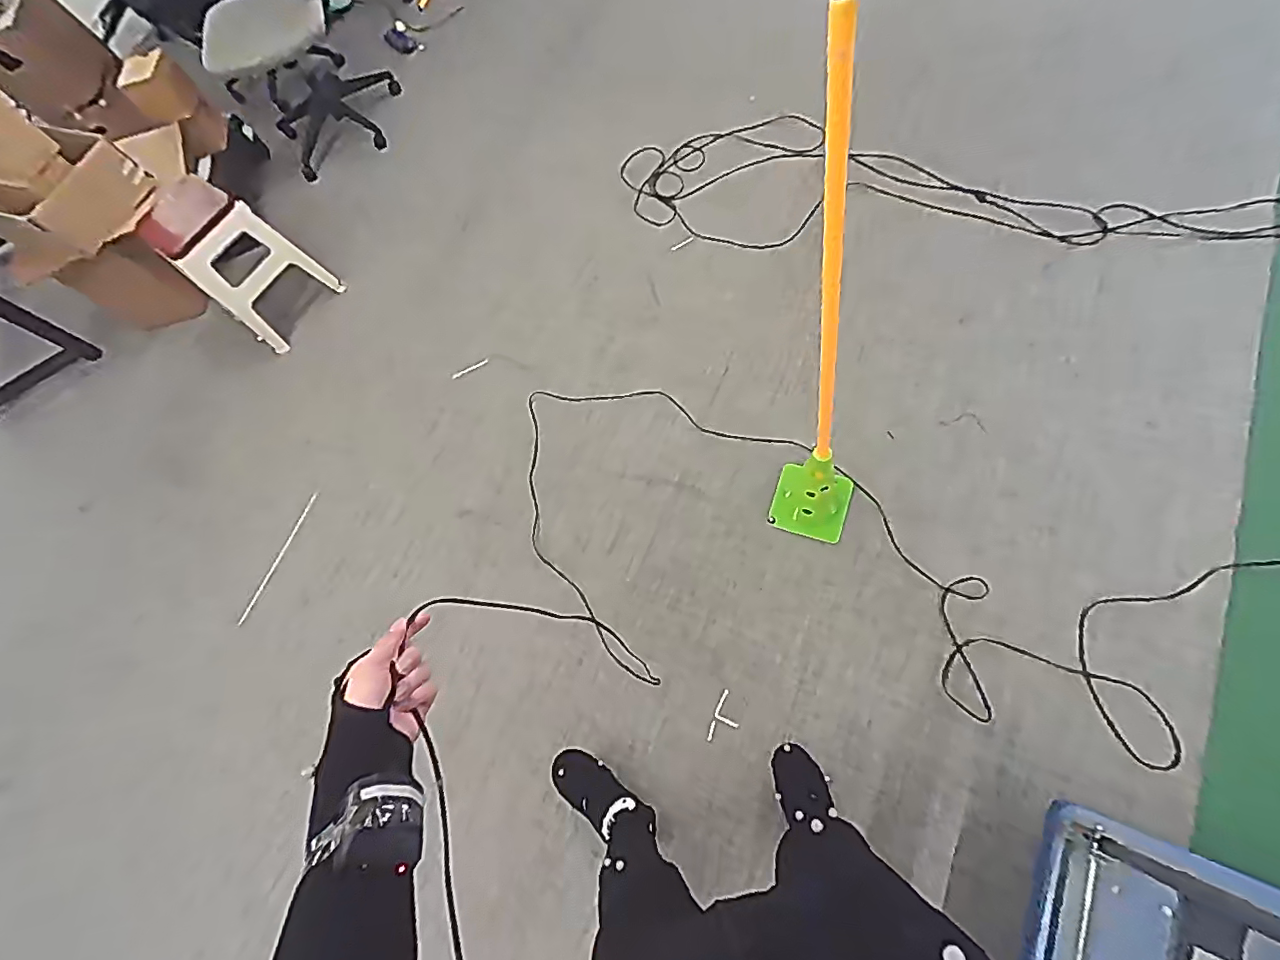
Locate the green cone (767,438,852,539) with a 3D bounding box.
[{"bbox_3d":[0.444,-0.008,1.366,0.200,0.368,0.202,15,73,17],"label":"green cone"}]
